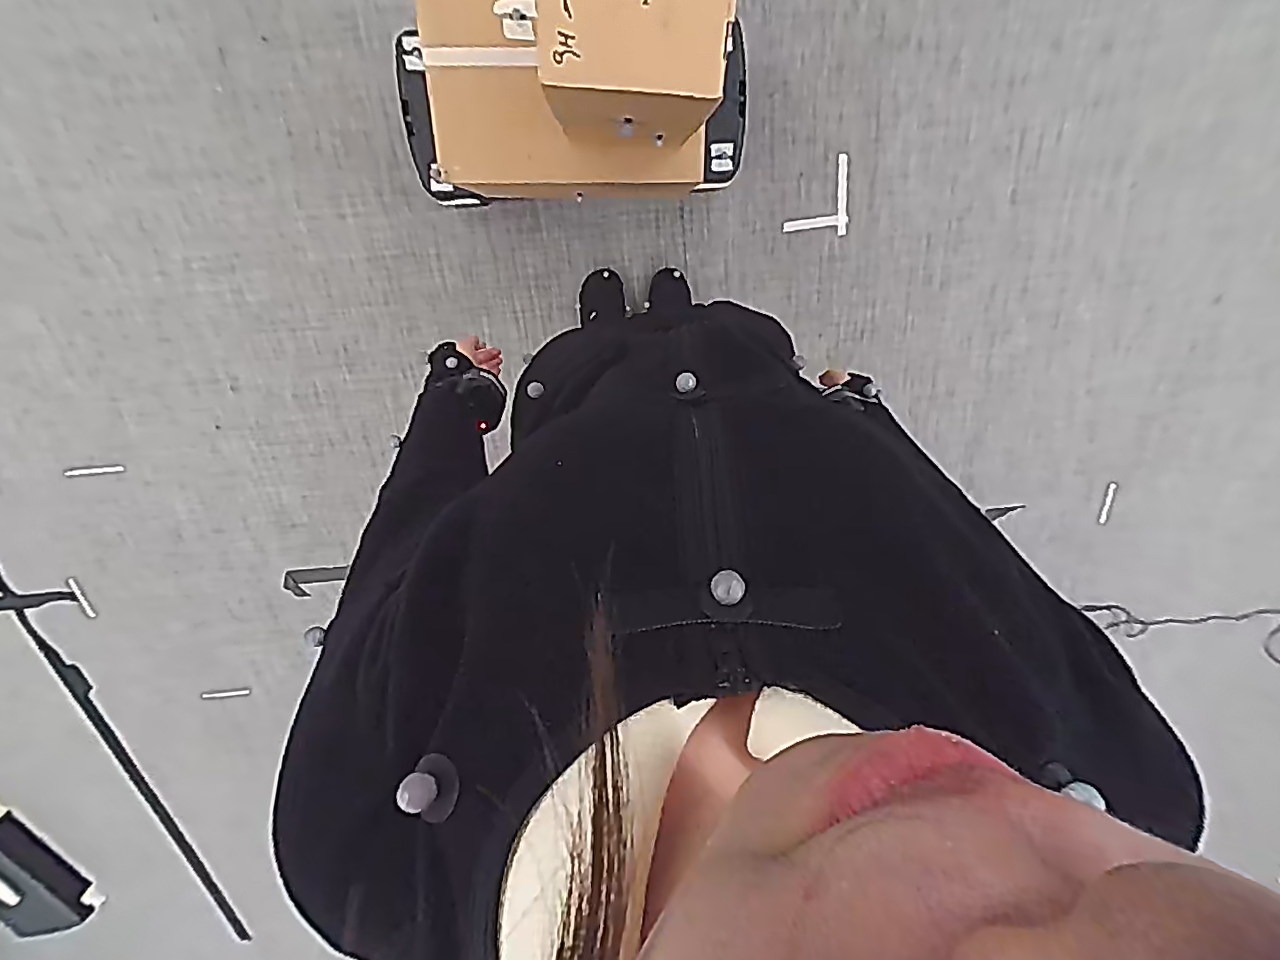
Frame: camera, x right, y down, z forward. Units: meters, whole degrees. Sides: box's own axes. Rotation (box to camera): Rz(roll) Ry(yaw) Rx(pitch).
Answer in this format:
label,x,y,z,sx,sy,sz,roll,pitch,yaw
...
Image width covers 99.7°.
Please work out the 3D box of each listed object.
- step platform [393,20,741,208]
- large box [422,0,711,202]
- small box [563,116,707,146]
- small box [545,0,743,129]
label,x,y,z,sx,sy,sz,roll,pitch,yaw
step platform,-0.137,-0.736,1.118,0.684,0.204,0.286,0,113,-2
large box,-0.100,-0.647,0.899,0.408,0.320,0.320,-1,112,-1
small box,-0.007,-0.535,0.686,0.179,0.176,0.168,1,113,-3
small box,-0.001,-0.465,0.538,0.179,0.176,0.168,2,112,-5
